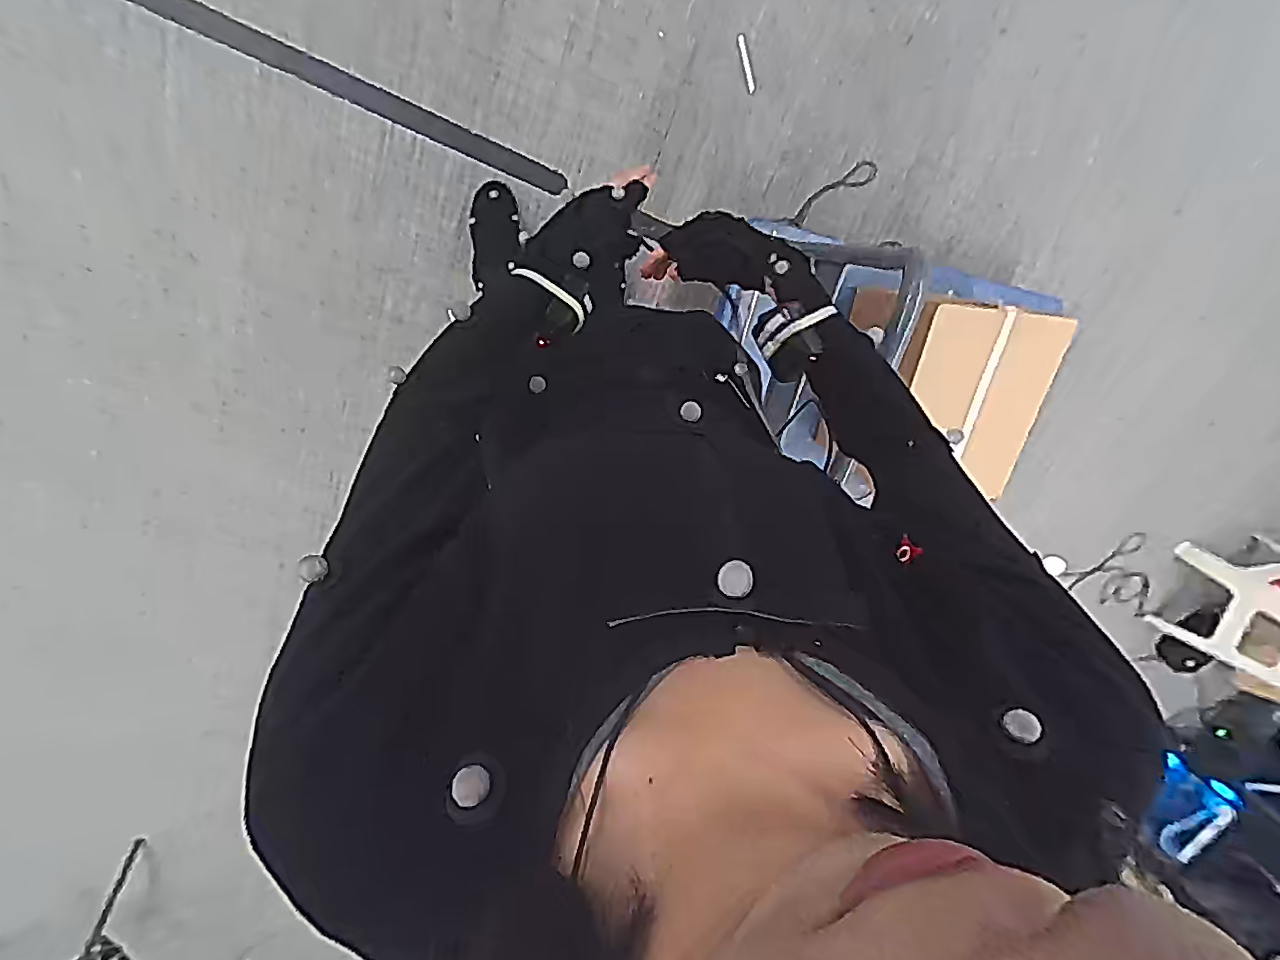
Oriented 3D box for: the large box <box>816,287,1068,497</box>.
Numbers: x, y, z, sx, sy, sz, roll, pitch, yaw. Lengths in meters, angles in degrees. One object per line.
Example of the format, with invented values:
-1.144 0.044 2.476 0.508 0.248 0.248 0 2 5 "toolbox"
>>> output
0.655 -0.210 1.251 0.320 0.320 0.408 3 115 -10 "large box"
